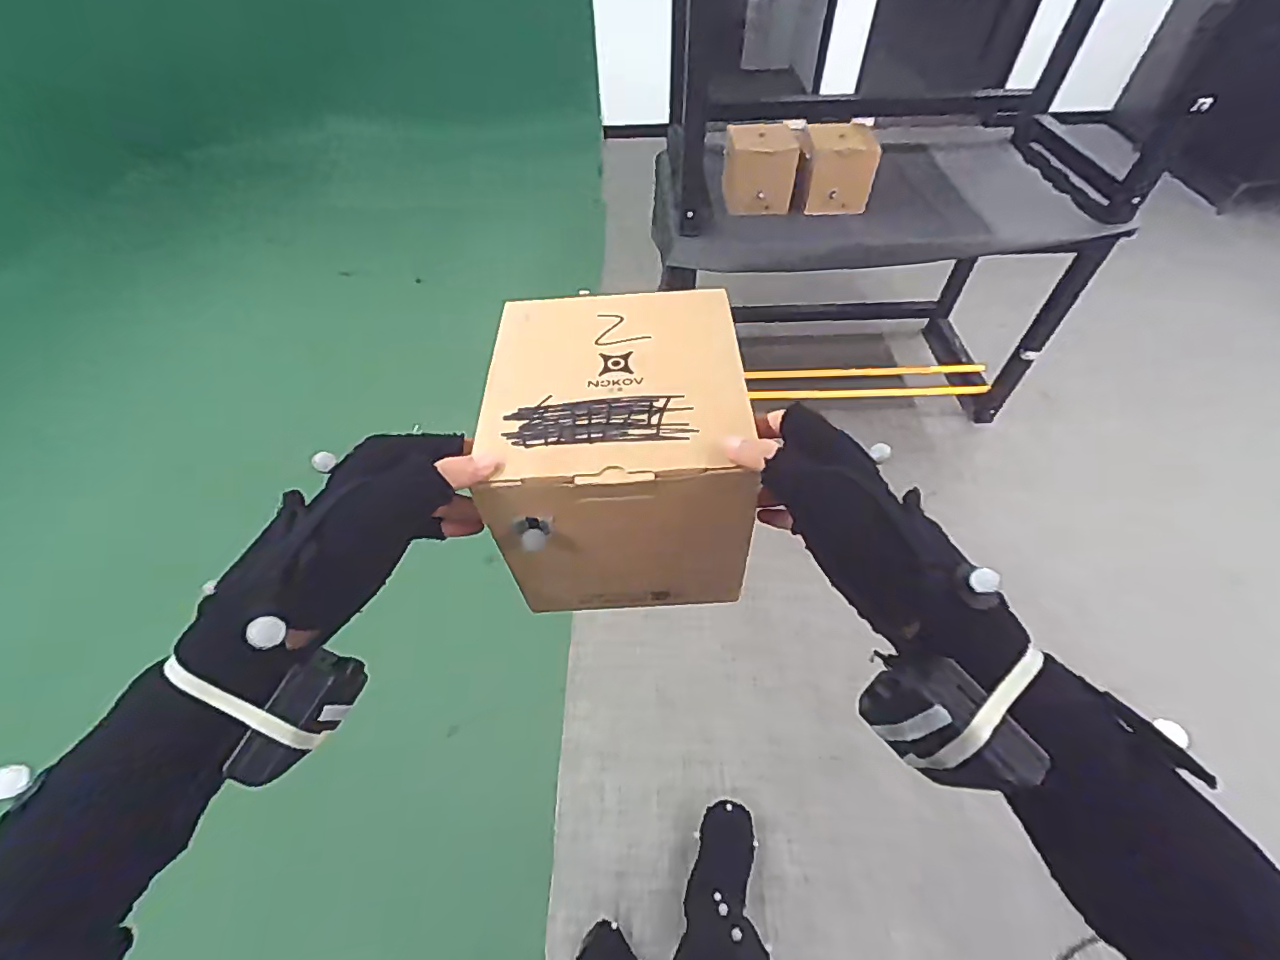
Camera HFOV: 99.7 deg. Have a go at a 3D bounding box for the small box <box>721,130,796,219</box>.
[{"bbox_3d":[0.319,-0.844,1.496,0.168,0.176,0.179,-2,51,0],"label":"small box"}]

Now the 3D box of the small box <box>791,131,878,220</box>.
[{"bbox_3d":[0.527,-0.842,1.494,0.168,0.176,0.179,-1,51,0],"label":"small box"}]
